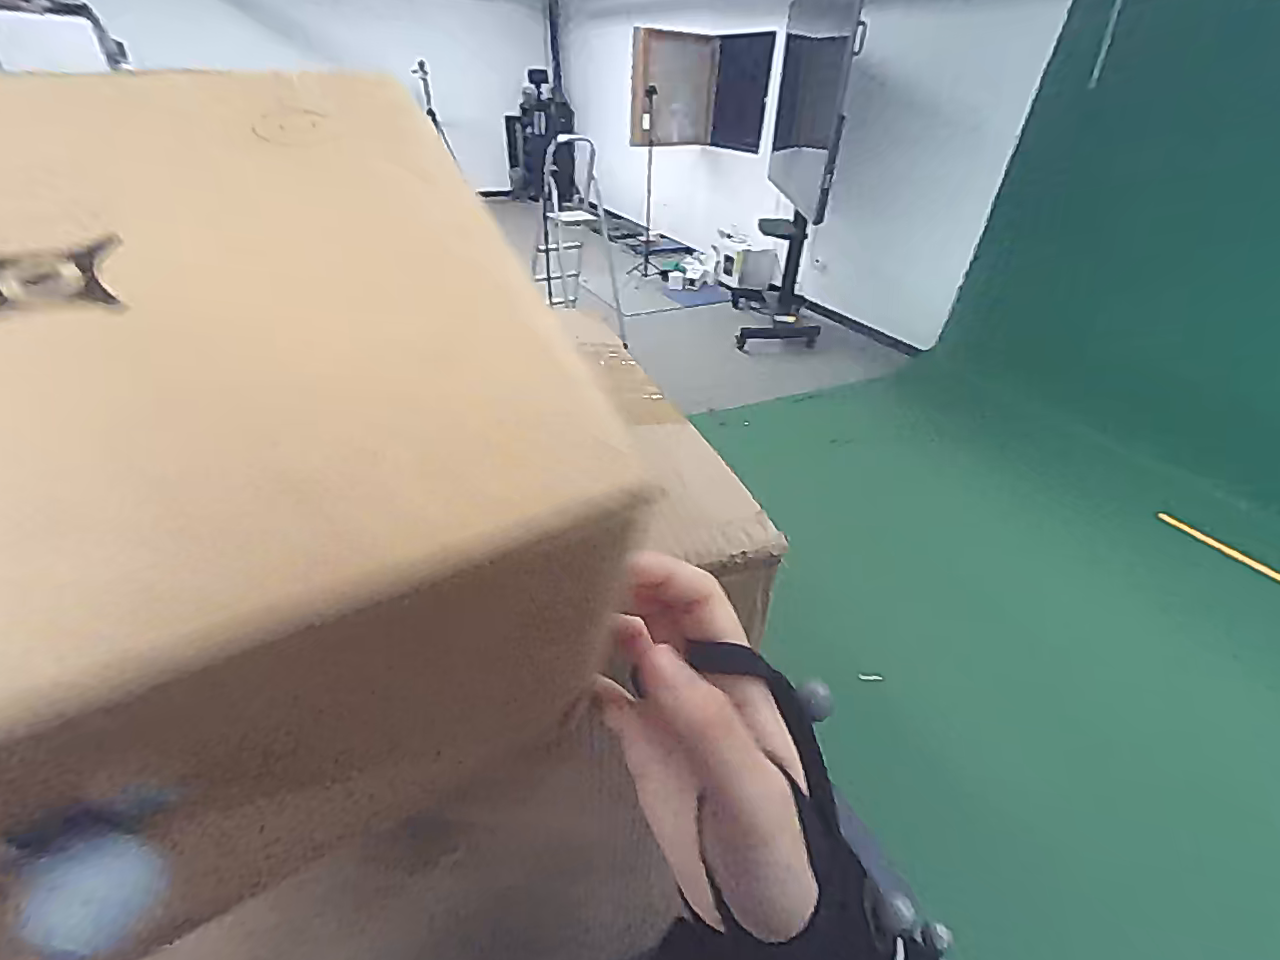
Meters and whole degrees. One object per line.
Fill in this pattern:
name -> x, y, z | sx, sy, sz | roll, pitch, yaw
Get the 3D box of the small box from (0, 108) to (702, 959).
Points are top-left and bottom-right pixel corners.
small box -> -0.114, 0.025, 0.162 | 0.179, 0.176, 0.168 | -22, 64, -23
